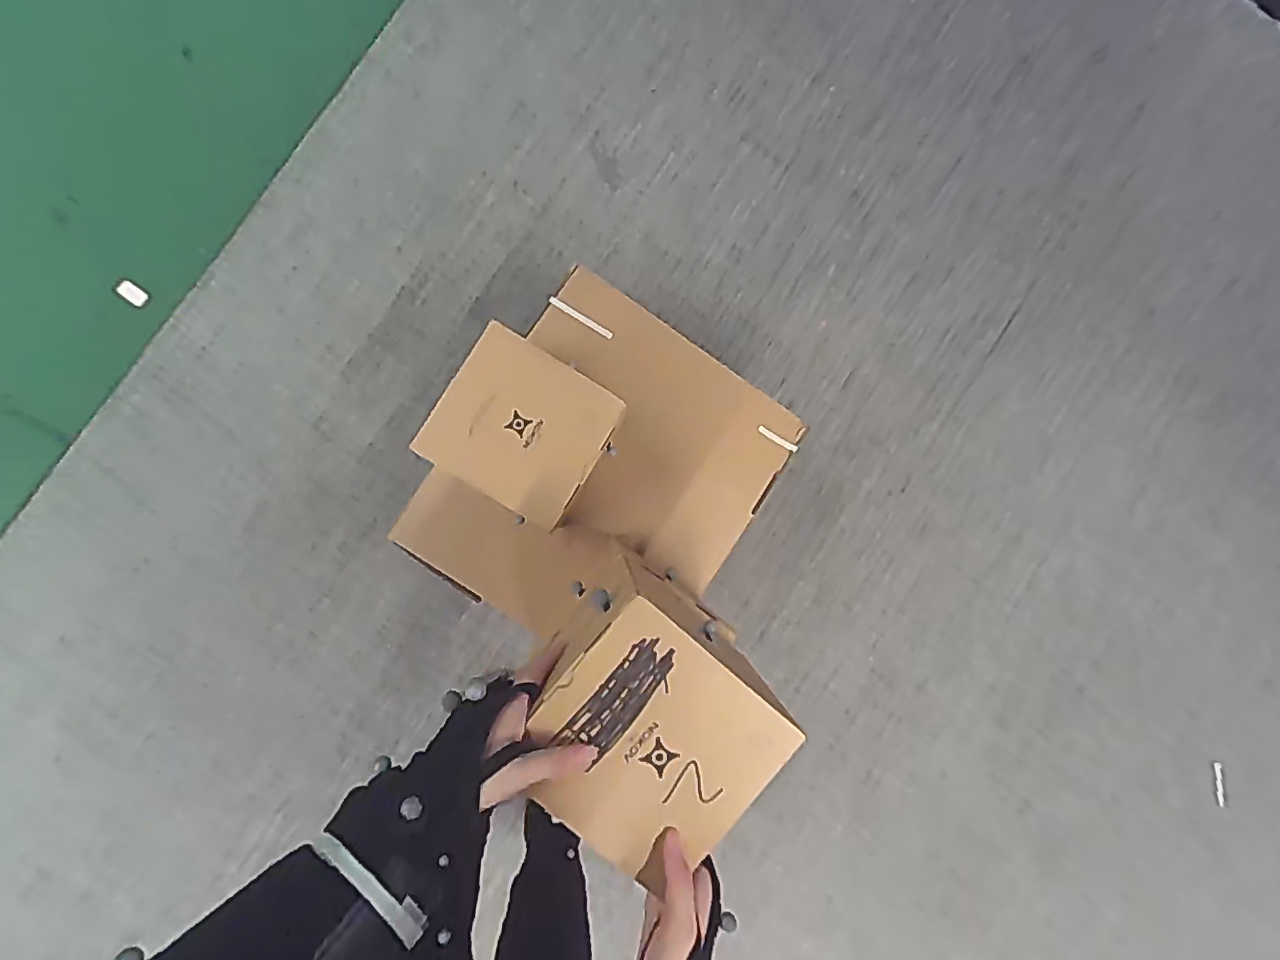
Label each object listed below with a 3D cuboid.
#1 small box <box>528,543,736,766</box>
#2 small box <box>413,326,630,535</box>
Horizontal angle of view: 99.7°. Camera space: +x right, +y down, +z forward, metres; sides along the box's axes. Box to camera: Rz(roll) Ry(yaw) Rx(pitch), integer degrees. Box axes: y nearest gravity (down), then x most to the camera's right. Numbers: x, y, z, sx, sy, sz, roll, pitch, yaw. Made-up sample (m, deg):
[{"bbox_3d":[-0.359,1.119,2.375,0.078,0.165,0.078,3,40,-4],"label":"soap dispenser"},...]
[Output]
[{"bbox_3d":[-0.017,0.194,0.663,0.168,0.176,0.179,38,85,-5],"label":"small box"},{"bbox_3d":[-0.133,-0.052,0.659,0.179,0.176,0.168,32,84,-4],"label":"small box"}]
